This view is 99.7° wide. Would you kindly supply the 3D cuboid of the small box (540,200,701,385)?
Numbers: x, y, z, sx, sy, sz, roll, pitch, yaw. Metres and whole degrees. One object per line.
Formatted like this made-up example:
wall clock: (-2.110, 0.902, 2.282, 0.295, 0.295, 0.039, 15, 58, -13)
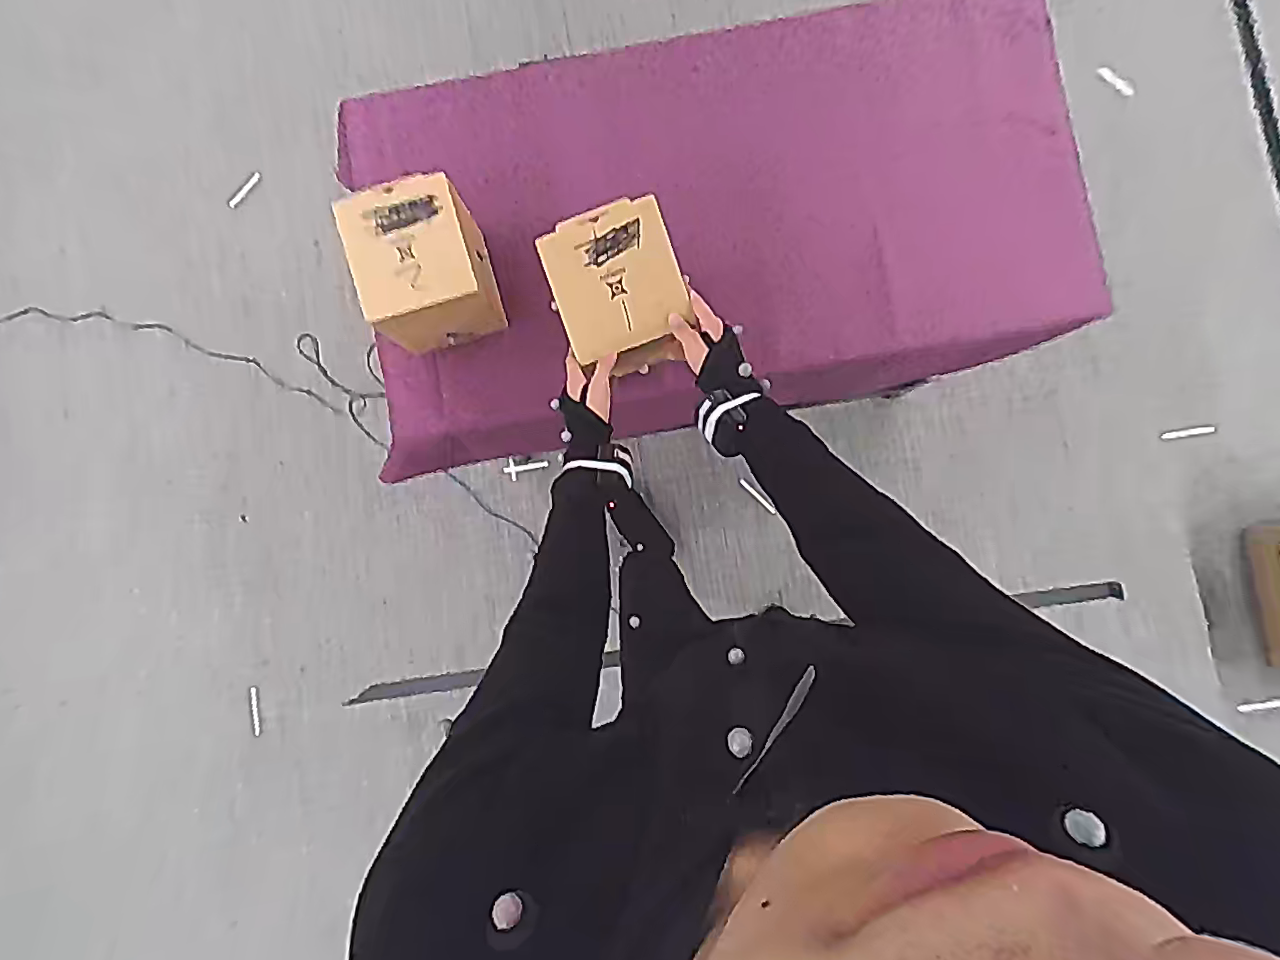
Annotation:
small box: (-0.021, -0.249, 0.763, 0.168, 0.176, 0.179, -19, 92, 6)
